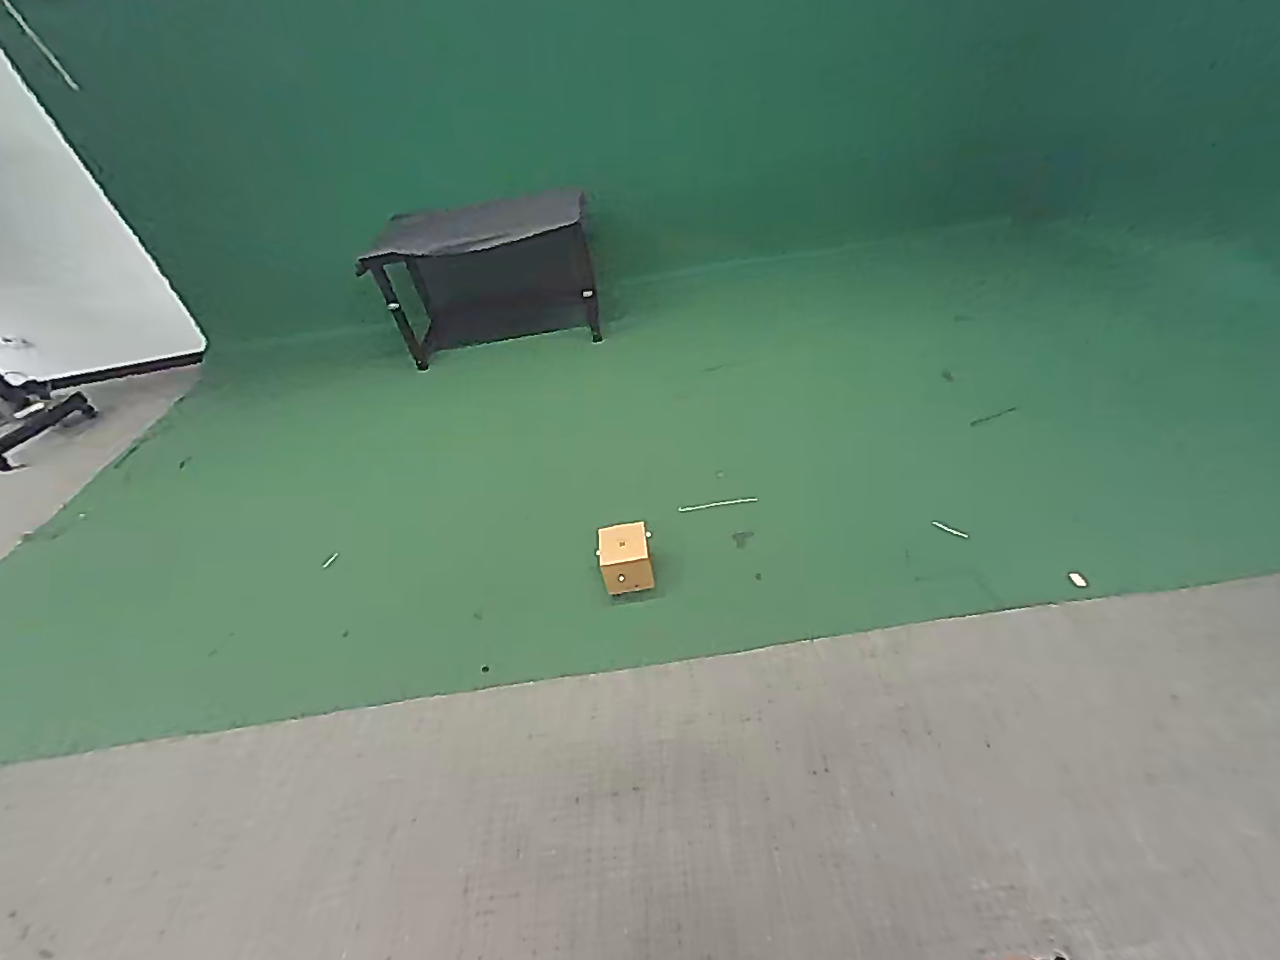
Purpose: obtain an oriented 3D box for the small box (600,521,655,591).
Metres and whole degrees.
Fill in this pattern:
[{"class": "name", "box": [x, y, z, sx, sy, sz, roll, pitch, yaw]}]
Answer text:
[{"class": "small box", "box": [-0.043, 0.274, 1.902, 0.168, 0.176, 0.179, -10, 40, 2]}]
